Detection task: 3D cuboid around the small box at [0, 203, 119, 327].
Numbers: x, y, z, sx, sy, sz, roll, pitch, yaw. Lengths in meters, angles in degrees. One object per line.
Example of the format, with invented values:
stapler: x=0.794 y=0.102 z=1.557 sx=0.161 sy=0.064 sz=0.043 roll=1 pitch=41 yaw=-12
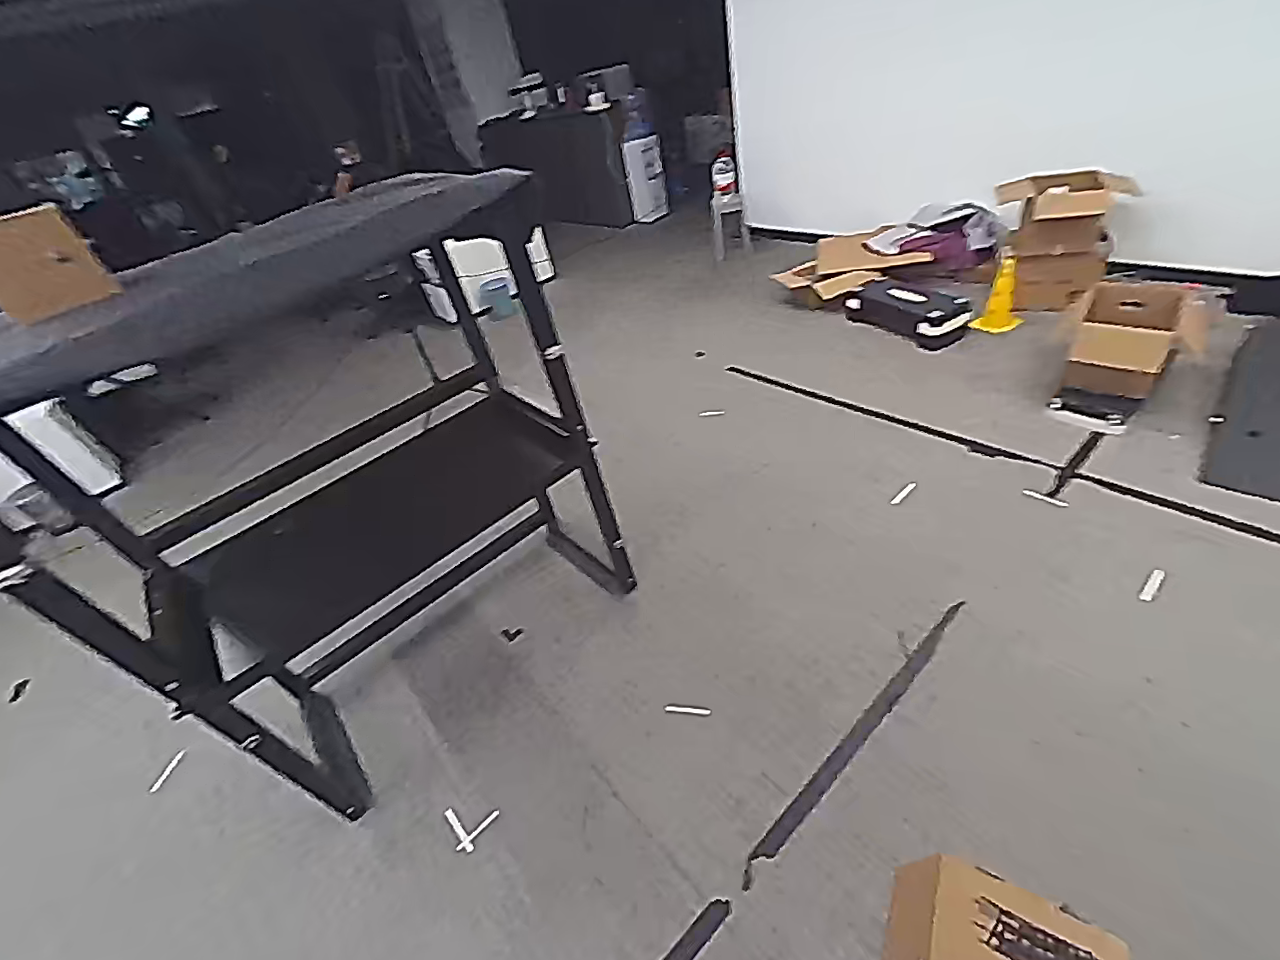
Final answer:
small box: x=-1.181 y=-0.426 z=1.064 sx=0.179 sy=0.176 sz=0.168 roll=-38 pitch=45 yaw=-27
